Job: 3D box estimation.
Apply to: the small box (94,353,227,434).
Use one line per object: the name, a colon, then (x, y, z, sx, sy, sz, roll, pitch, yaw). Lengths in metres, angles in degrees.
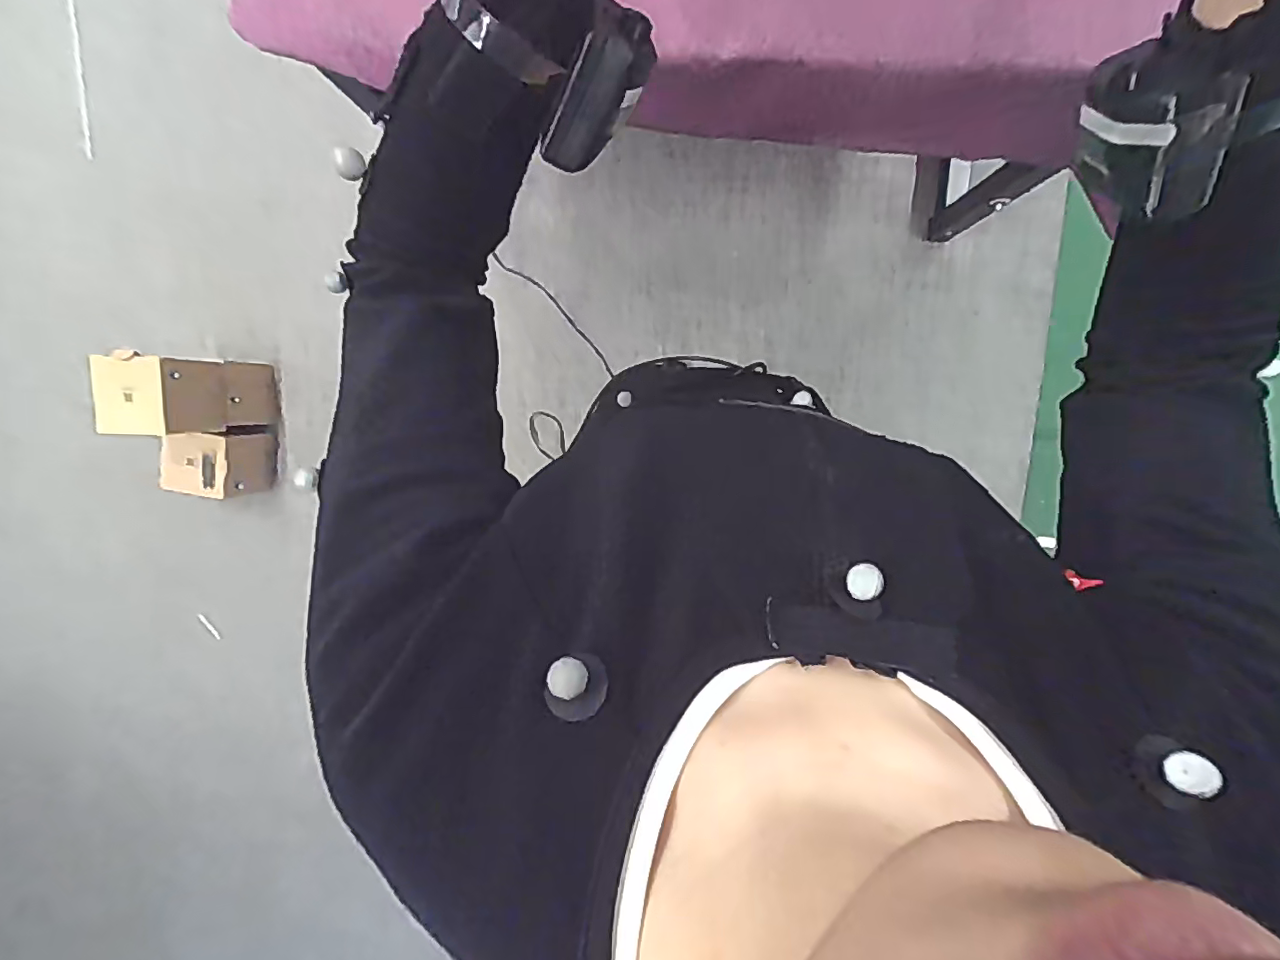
small box: (-1.119, -0.202, 1.276, 0.168, 0.176, 0.179, 2, 97, 4)
